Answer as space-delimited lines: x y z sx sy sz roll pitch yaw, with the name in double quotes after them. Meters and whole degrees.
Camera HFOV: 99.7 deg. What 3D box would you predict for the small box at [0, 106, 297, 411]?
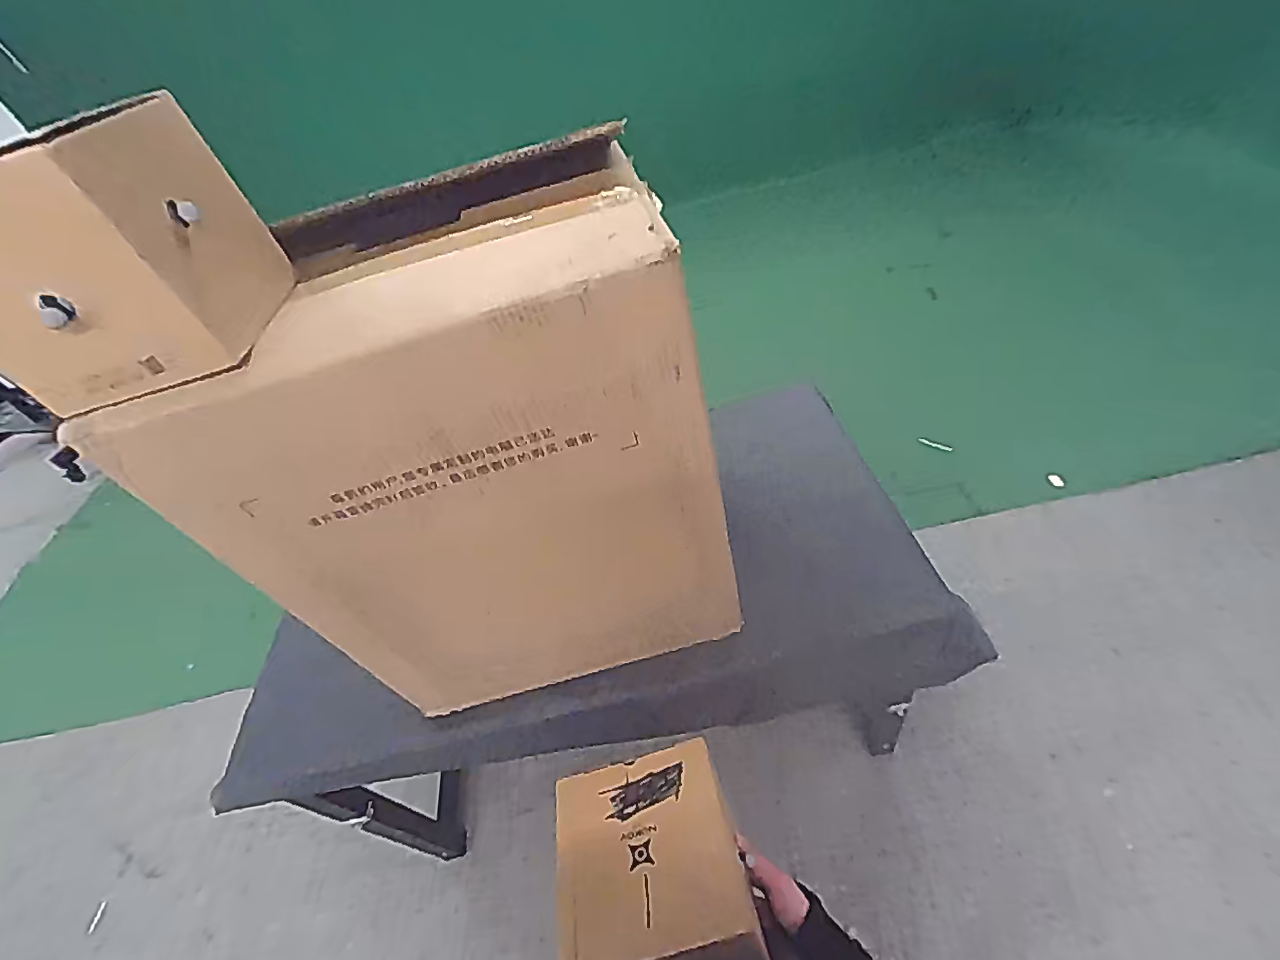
-0.433 -0.177 0.456 0.168 0.176 0.179 -16 45 2 "small box"
